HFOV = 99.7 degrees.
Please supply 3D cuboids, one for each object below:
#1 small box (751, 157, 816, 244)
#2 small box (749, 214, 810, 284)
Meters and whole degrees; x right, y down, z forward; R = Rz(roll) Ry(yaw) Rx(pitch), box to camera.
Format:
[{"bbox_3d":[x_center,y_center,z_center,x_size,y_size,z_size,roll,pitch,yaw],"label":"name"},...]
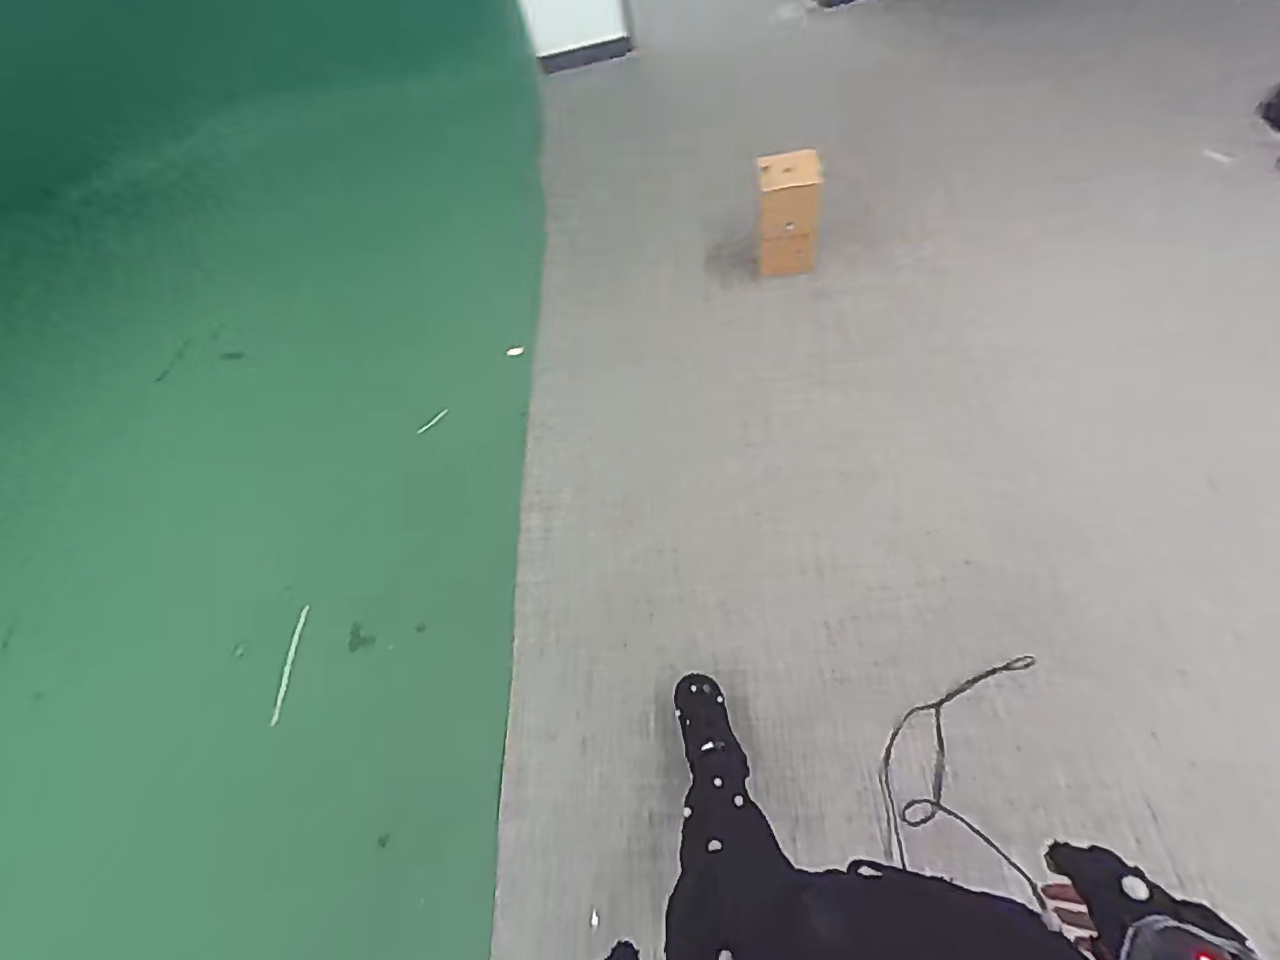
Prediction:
[{"bbox_3d":[0.442,-0.870,1.691,0.179,0.176,0.168,-4,61,9],"label":"small box"},{"bbox_3d":[0.468,-0.795,1.835,0.179,0.176,0.168,-7,61,10],"label":"small box"}]
